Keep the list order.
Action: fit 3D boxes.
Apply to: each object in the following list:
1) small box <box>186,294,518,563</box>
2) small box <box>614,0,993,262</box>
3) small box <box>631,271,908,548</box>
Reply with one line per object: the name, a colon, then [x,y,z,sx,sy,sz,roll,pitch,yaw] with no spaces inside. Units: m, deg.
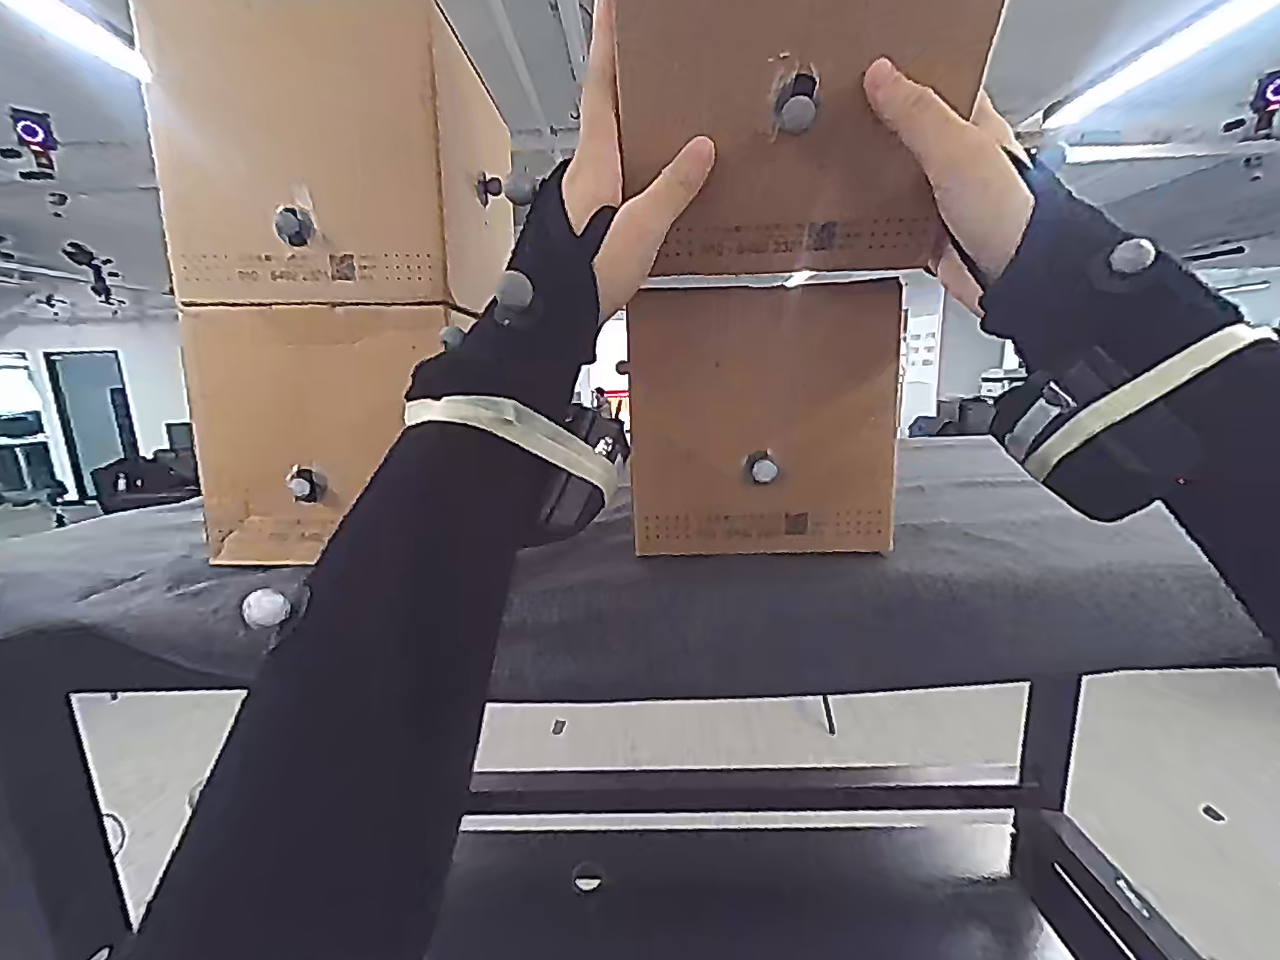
small box: [-0.193,-0.042,0.418,0.168,0.176,0.179,-1,10,0]
small box: [0.077,-0.234,0.306,0.168,0.176,0.179,0,42,4]
small box: [0.081,-0.052,0.413,0.168,0.176,0.179,-2,9,2]
